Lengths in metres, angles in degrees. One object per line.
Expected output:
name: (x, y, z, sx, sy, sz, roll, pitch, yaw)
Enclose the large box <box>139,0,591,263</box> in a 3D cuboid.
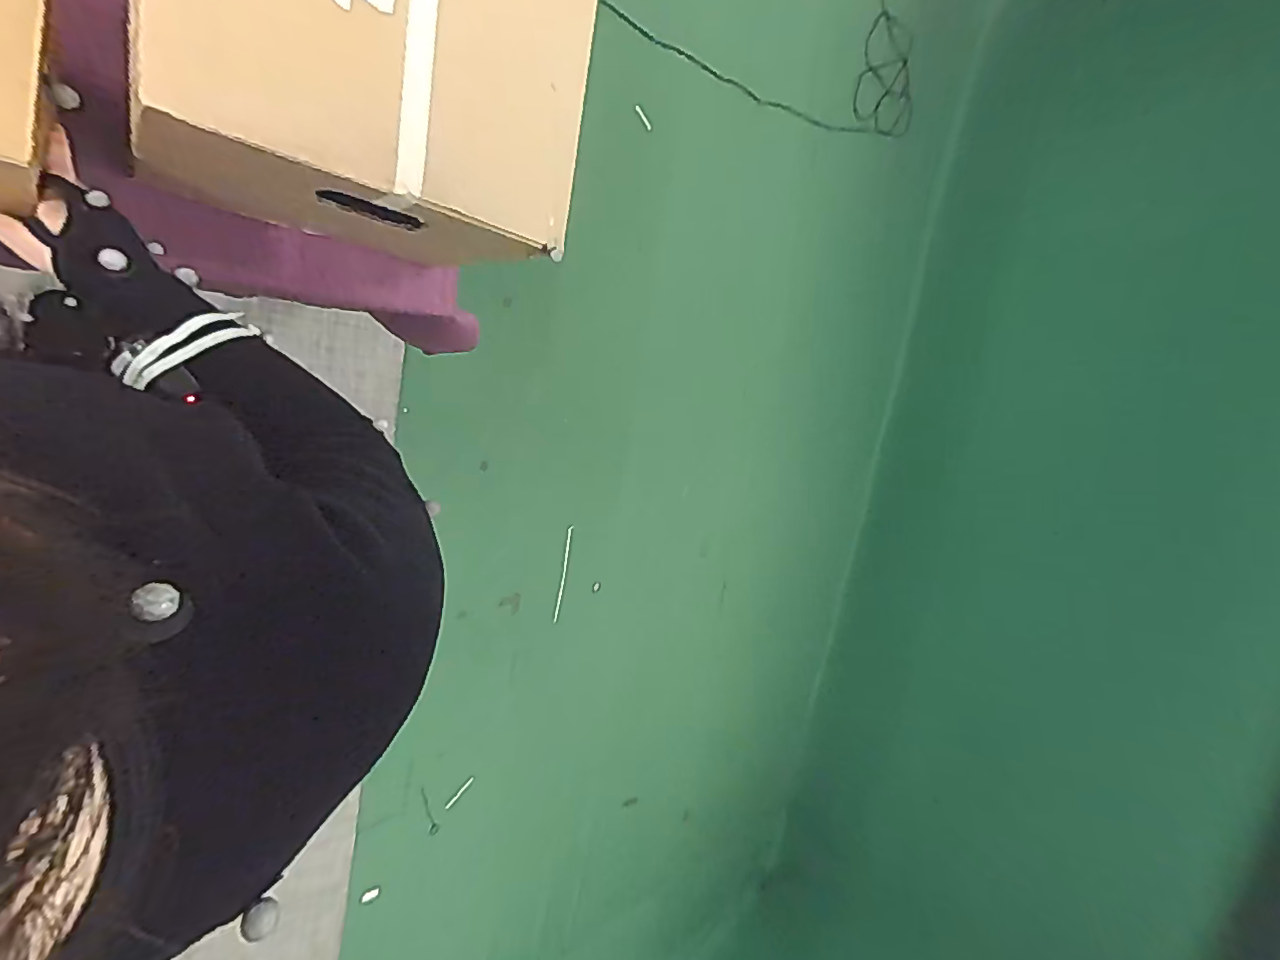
large box: (-0.262, -0.458, 0.516, 0.320, 0.320, 0.408, 0, 104, -44)
